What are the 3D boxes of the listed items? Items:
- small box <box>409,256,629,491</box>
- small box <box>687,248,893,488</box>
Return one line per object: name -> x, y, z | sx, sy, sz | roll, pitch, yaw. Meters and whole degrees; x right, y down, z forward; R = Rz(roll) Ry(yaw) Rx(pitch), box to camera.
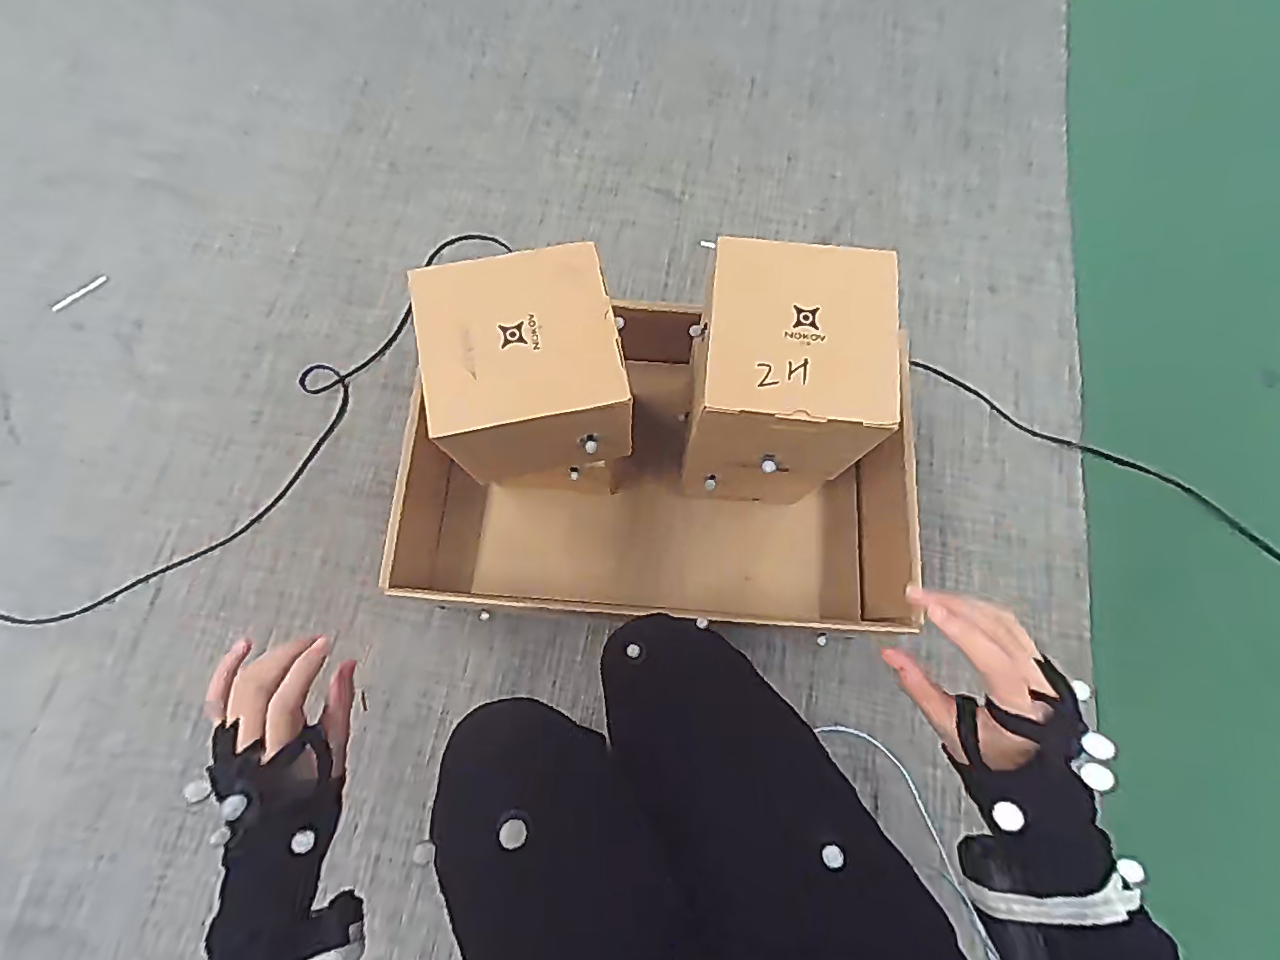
small box -> -0.112, -0.097, 0.556 | 0.179, 0.176, 0.168 | -11, 76, -4
small box -> 0.140, -0.102, 0.553 | 0.168, 0.176, 0.179 | 6, 75, 2
